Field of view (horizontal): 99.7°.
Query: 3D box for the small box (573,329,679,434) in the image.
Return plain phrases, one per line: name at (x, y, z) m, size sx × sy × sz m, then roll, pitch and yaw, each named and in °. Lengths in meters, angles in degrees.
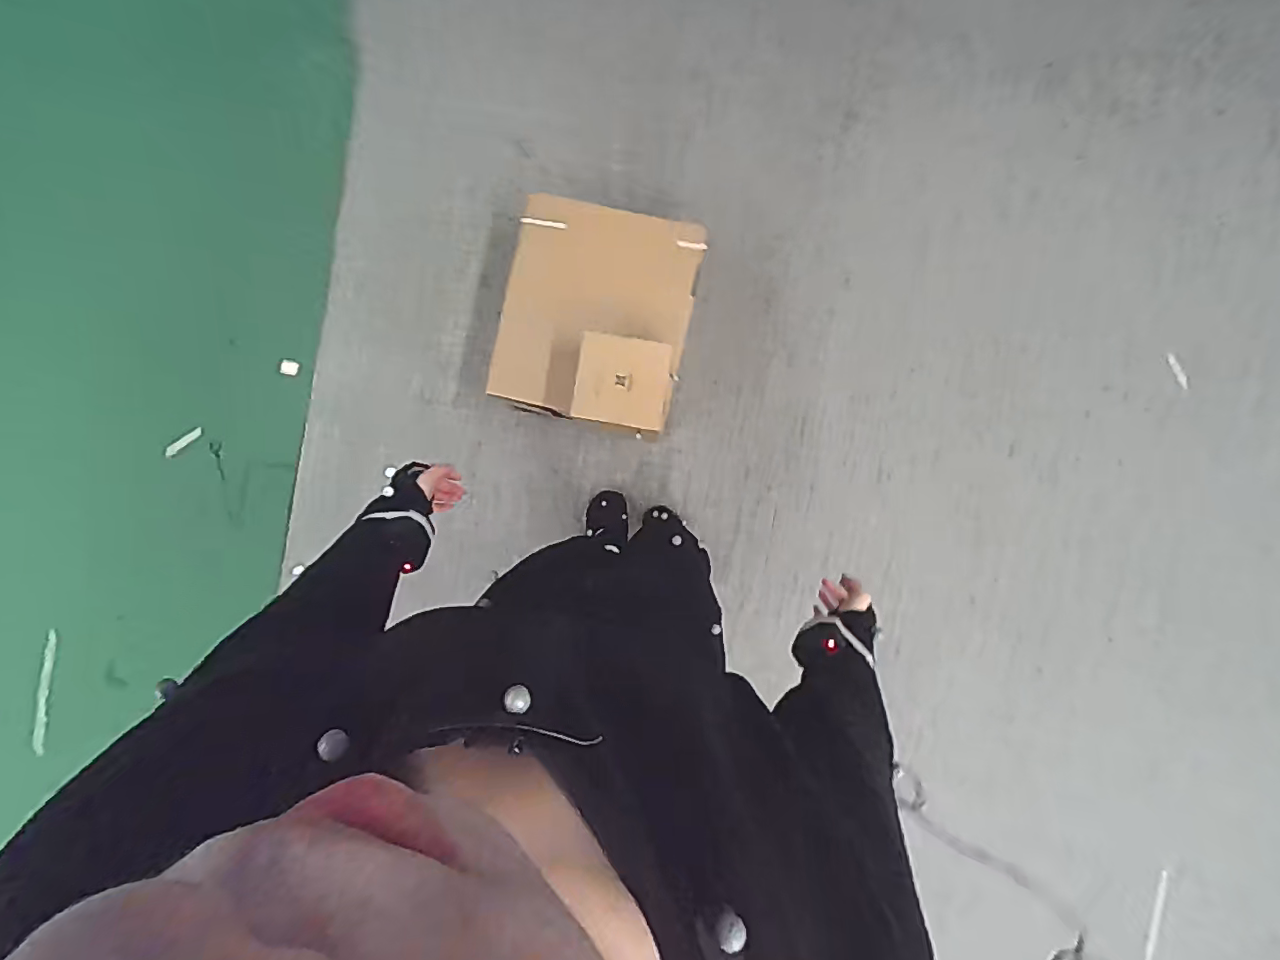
small box at (-0.024, -0.188, 1.088) m, size 0.179 × 0.176 × 0.168 m, roll 10°, pitch 91°, yaw 2°
